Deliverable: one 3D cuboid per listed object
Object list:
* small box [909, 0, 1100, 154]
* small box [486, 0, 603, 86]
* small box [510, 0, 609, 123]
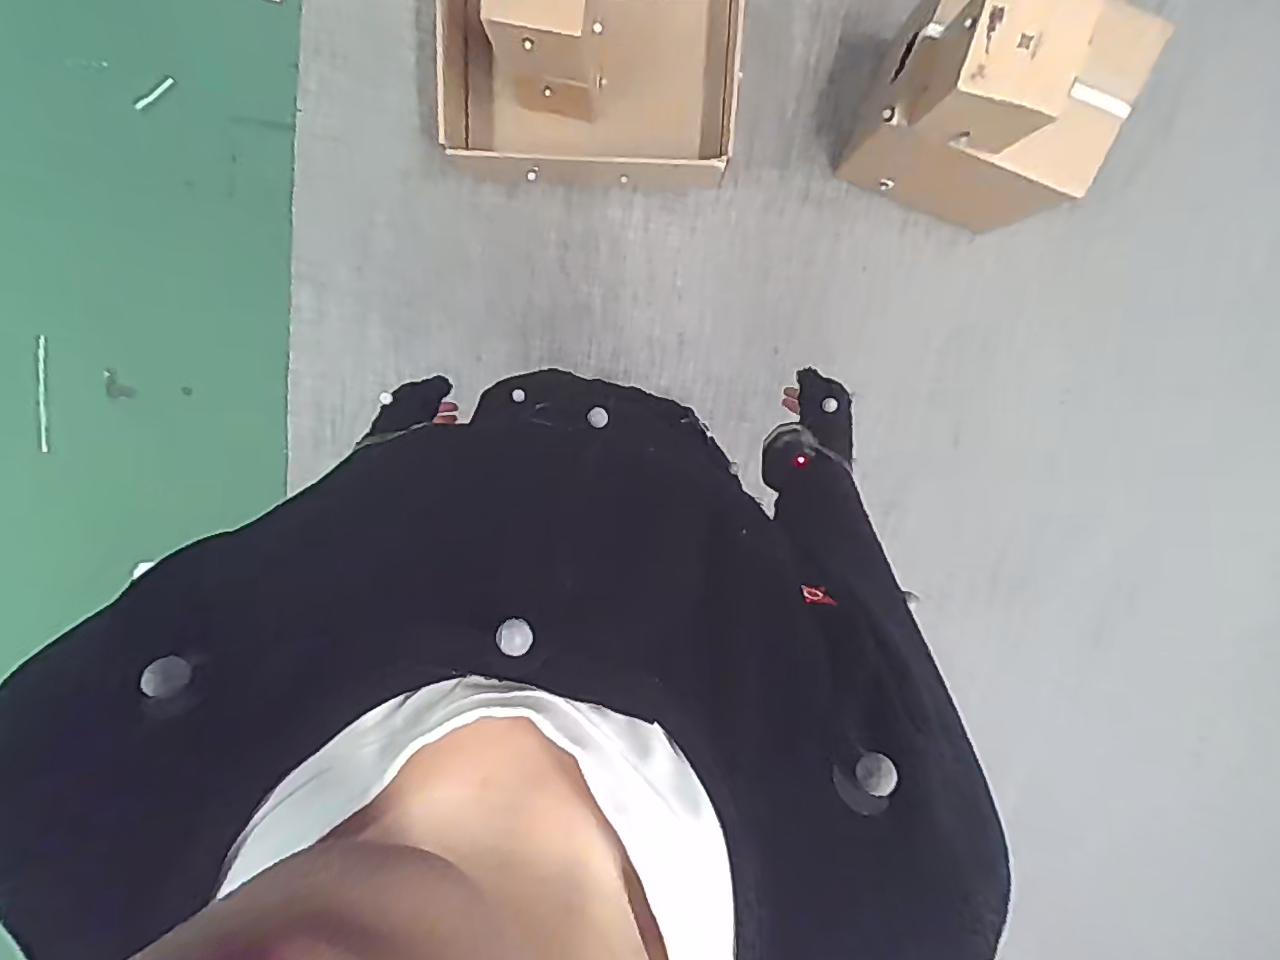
[{"bbox_3d":[0.598,-0.680,0.914,0.179,0.176,0.168,14,103,-2],"label":"small box"},{"bbox_3d":[-0.169,-0.868,0.998,0.179,0.176,0.168,8,102,-3],"label":"small box"},{"bbox_3d":[-0.166,-0.900,1.159,0.179,0.176,0.168,9,102,-3],"label":"small box"}]
